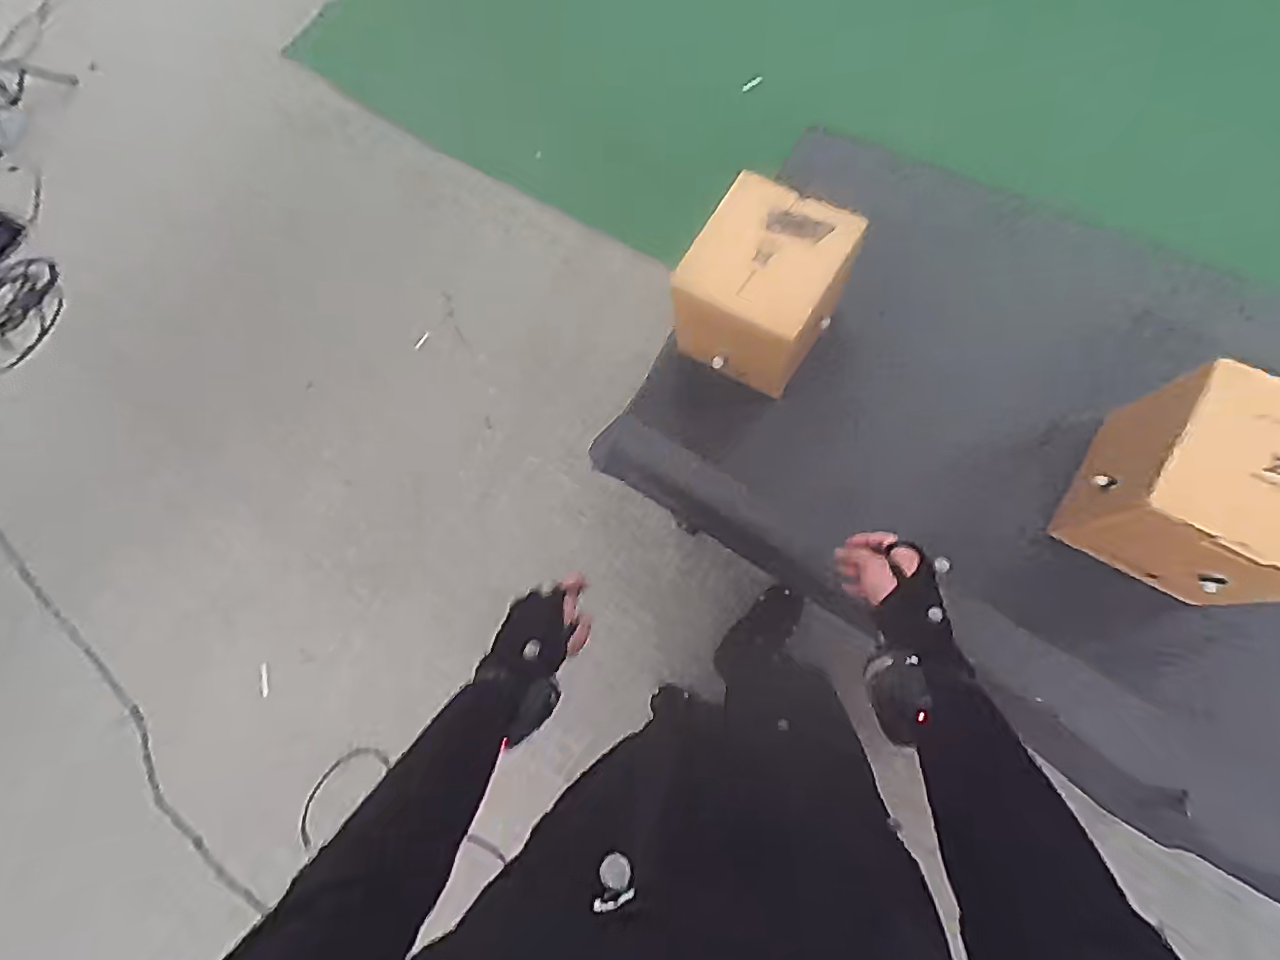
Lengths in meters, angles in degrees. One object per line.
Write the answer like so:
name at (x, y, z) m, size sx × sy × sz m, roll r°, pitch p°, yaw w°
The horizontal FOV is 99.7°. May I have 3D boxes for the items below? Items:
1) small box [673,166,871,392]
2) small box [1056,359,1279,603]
small box at (0.159, -0.246, 0.693) m, size 0.168 × 0.176 × 0.179 m, roll 32°, pitch 82°, yaw 15°
small box at (0.588, 0.014, 0.564) m, size 0.168 × 0.176 × 0.179 m, roll 31°, pitch 81°, yaw 13°
